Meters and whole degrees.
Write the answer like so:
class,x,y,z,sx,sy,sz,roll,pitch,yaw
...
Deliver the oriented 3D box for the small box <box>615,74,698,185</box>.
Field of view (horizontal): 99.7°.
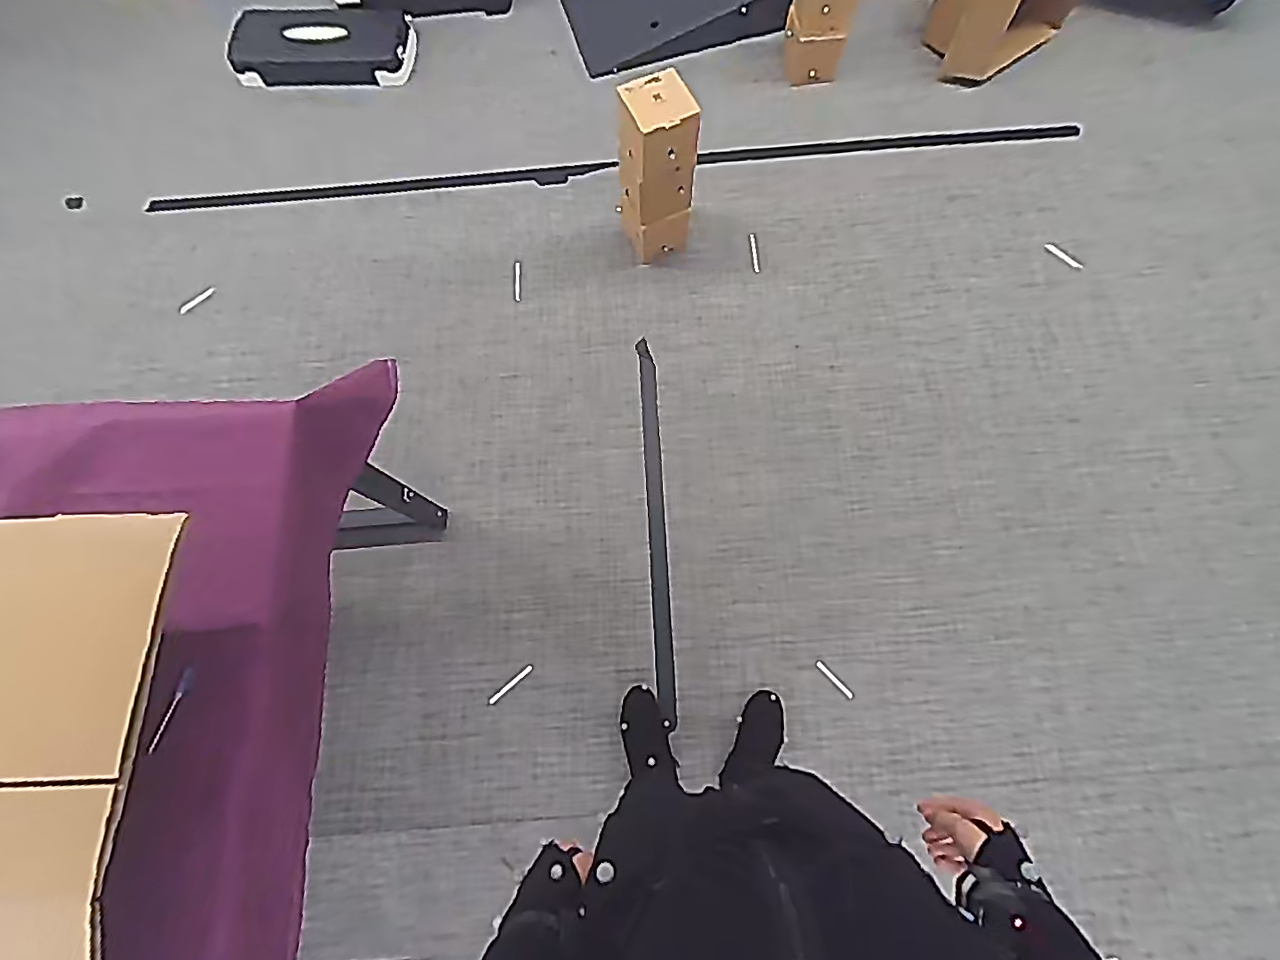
class,x,y,z,sx,sy,sz,roll,pitch,yaw
small box,0.043,-0.935,1.461,0.168,0.176,0.179,-23,75,-6
